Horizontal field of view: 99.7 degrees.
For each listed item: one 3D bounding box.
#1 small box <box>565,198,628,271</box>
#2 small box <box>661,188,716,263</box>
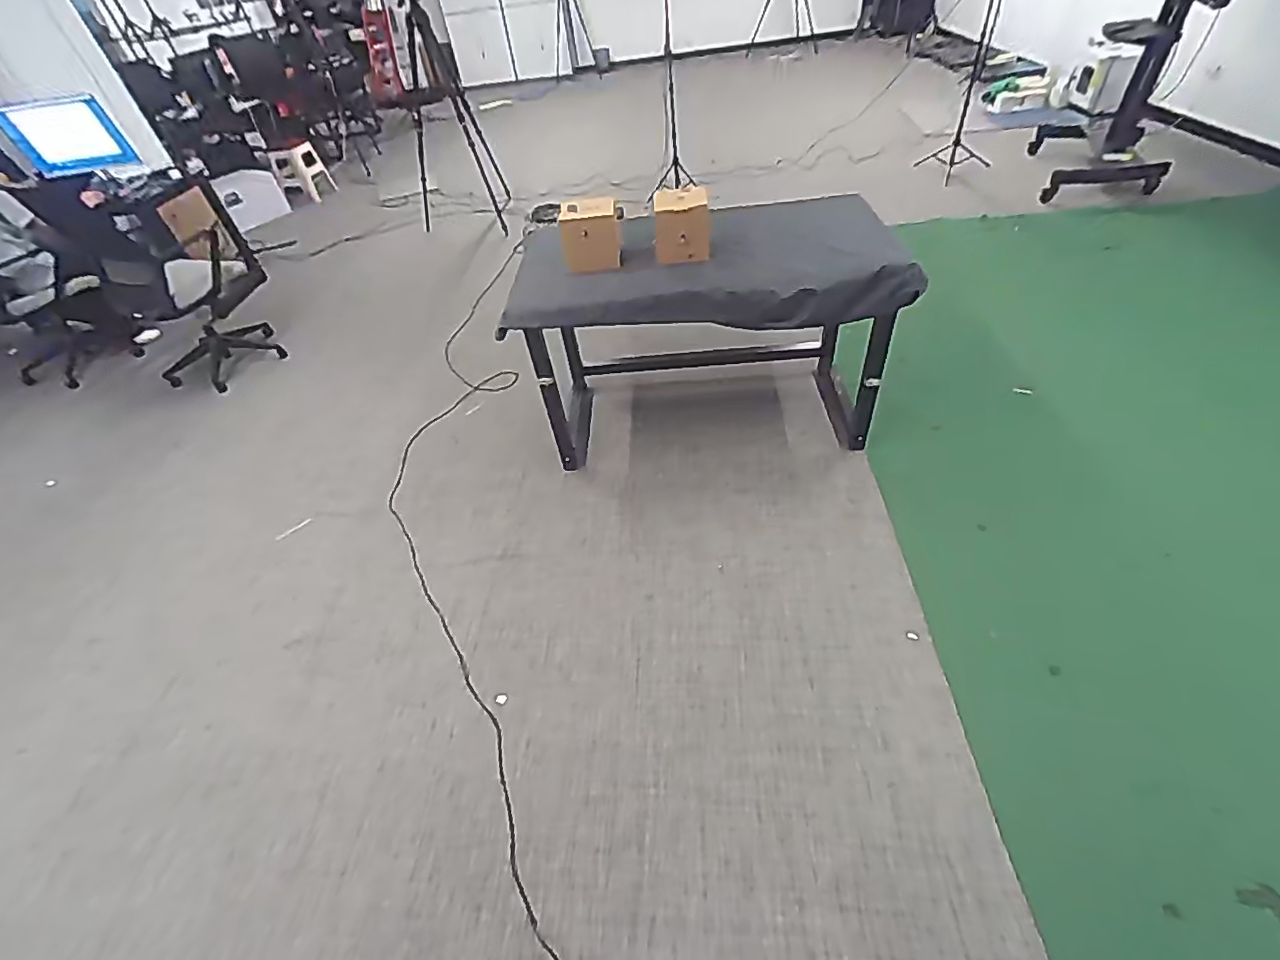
[{"bbox_3d":[-0.135,-0.797,1.764,0.179,0.176,0.168,-4,45,3],"label":"small box"},{"bbox_3d":[0.156,-0.811,1.735,0.168,0.176,0.179,-3,46,5],"label":"small box"}]
